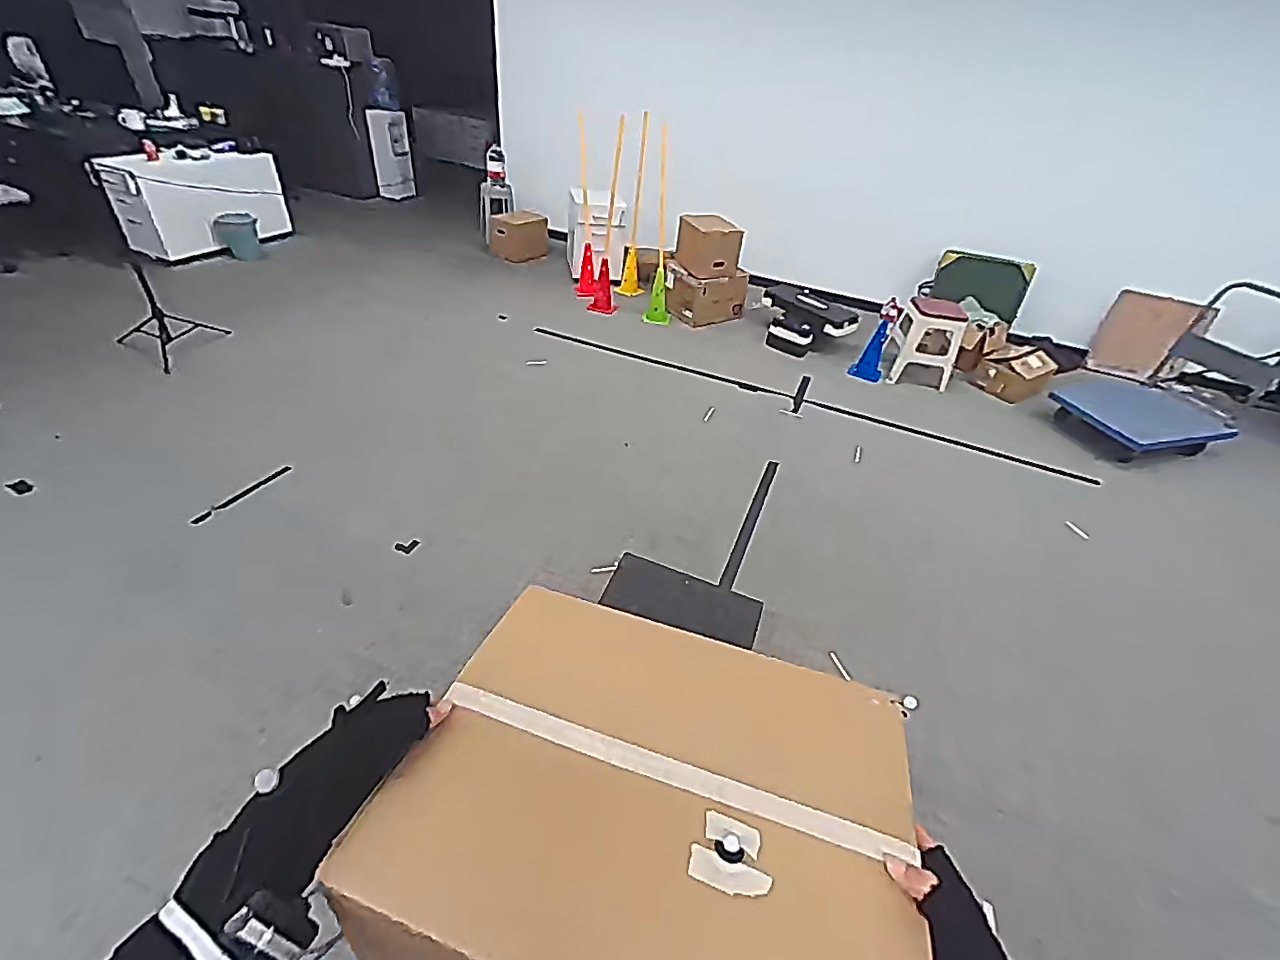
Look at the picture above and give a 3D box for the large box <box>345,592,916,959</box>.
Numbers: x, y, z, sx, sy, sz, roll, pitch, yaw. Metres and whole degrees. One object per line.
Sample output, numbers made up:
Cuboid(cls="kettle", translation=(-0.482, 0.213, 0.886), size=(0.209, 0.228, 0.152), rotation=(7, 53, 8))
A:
Cuboid(cls="large box", translation=(0.006, 0.371, 0.541), size=(0.408, 0.320, 0.320), rotation=(14, 33, 13))
